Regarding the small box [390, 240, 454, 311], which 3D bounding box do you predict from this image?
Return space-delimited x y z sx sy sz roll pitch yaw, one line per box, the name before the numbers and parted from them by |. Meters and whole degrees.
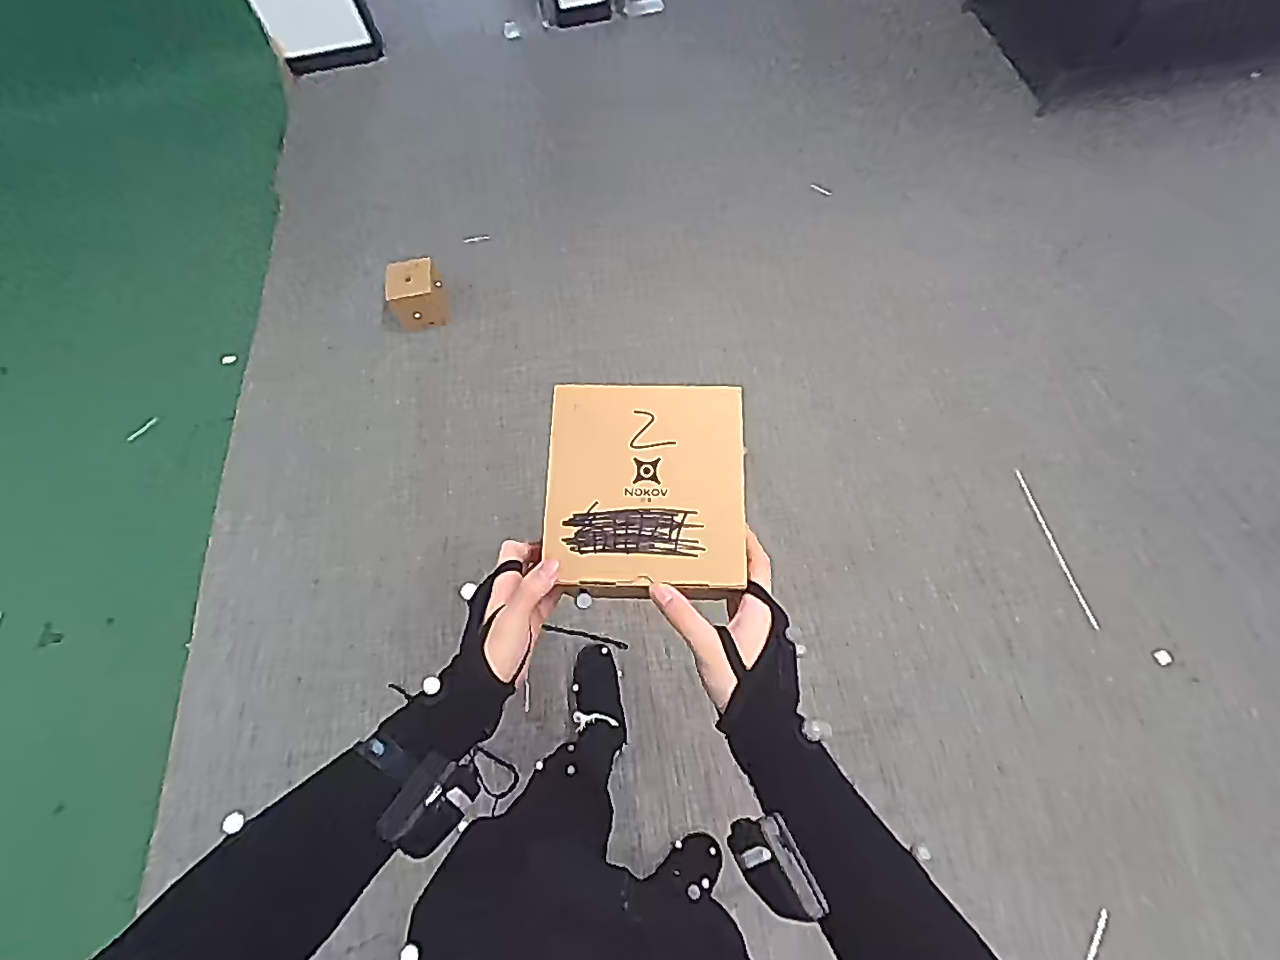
small box | -0.788 -0.736 1.970 0.168 0.176 0.179 -8 66 0
